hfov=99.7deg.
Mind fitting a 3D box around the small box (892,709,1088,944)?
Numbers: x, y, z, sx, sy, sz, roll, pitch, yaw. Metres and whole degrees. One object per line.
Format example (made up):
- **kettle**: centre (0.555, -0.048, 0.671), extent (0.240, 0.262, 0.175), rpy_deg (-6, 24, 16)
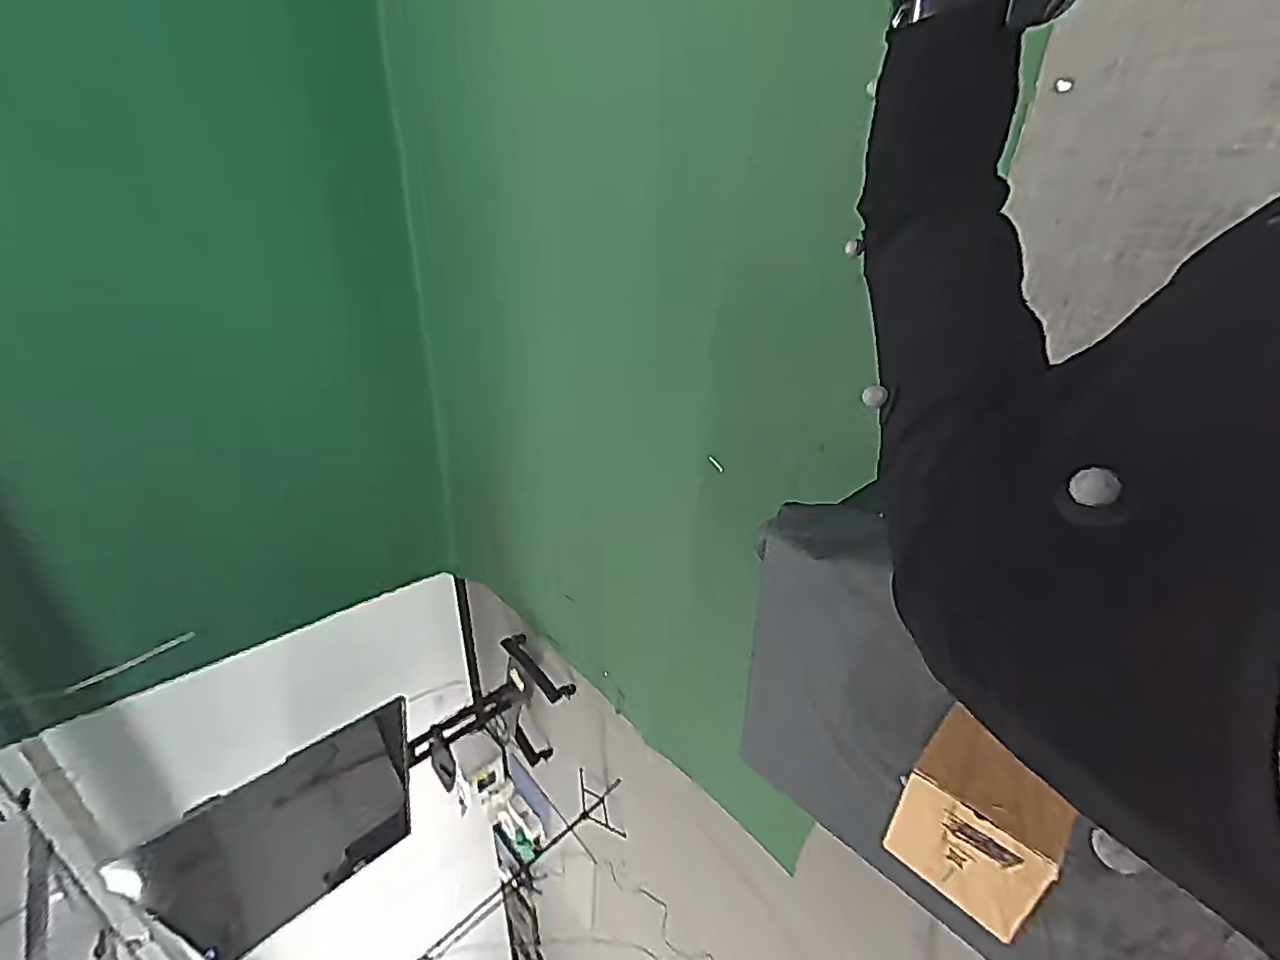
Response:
- **small box**: centre (0.480, 0.458, 0.743), extent (0.168, 0.176, 0.179), rpy_deg (26, 126, 40)
